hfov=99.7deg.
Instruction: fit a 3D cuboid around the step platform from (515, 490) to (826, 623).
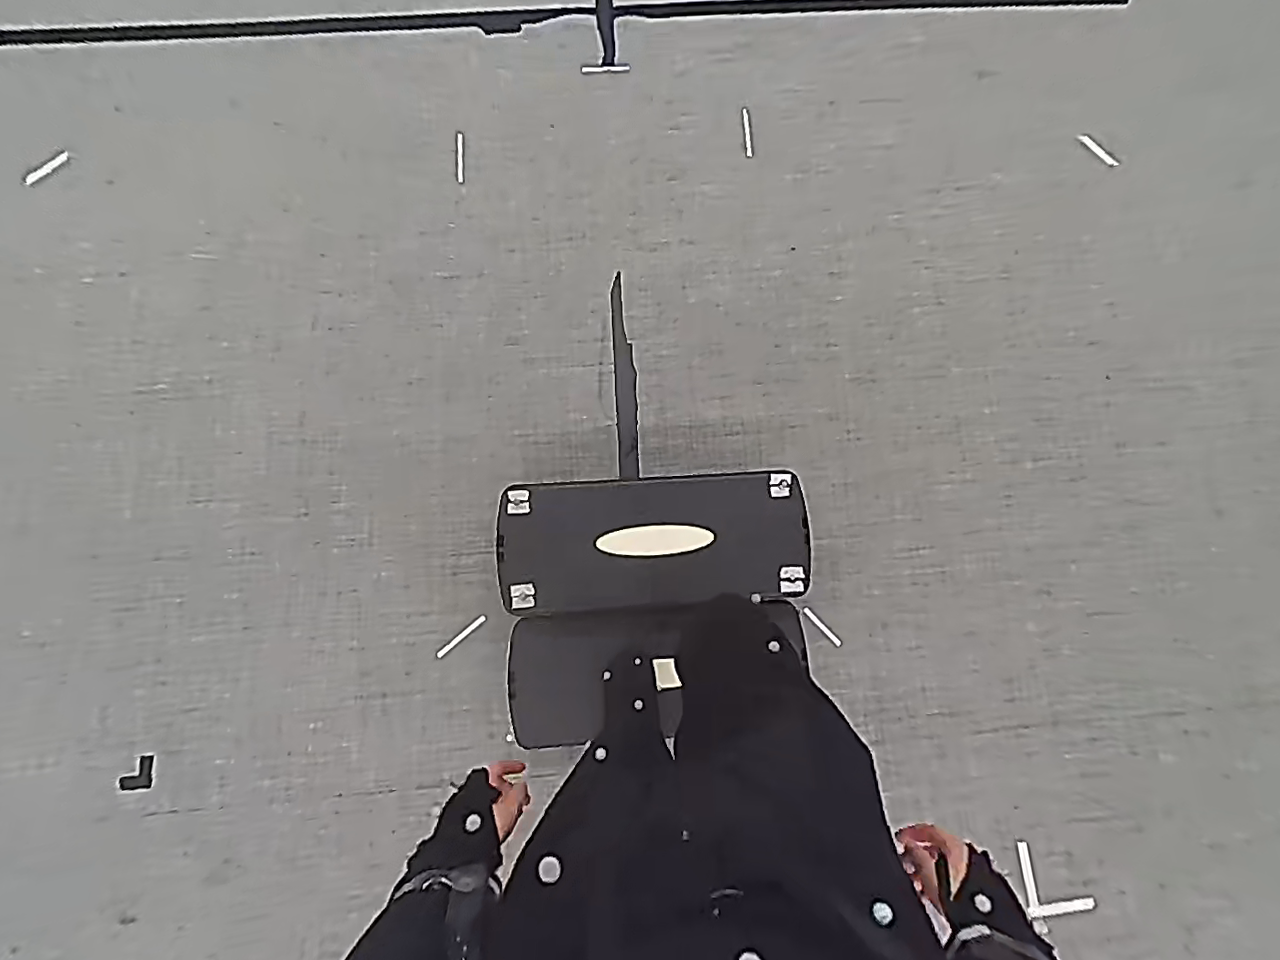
[{"bbox_3d":[0.064,0.175,1.227,0.684,0.204,0.286,1,79,-3],"label":"step platform"}]
